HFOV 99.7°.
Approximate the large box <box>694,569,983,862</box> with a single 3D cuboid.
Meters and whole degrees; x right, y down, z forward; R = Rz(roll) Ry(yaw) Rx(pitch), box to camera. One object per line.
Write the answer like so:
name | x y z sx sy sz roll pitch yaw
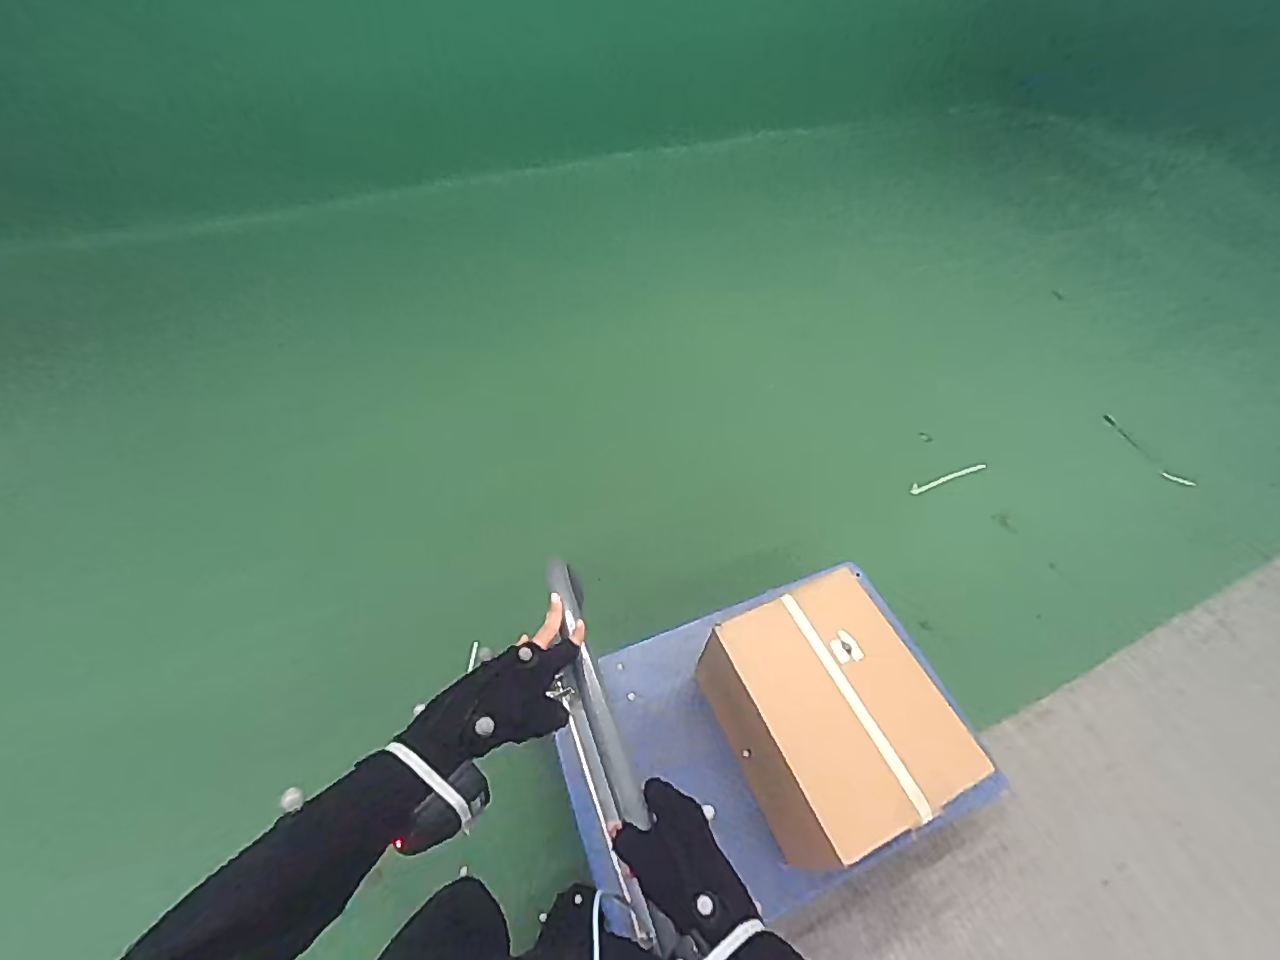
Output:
large box | 0.346 0.462 1.074 0.320 0.320 0.408 -19 57 -17
